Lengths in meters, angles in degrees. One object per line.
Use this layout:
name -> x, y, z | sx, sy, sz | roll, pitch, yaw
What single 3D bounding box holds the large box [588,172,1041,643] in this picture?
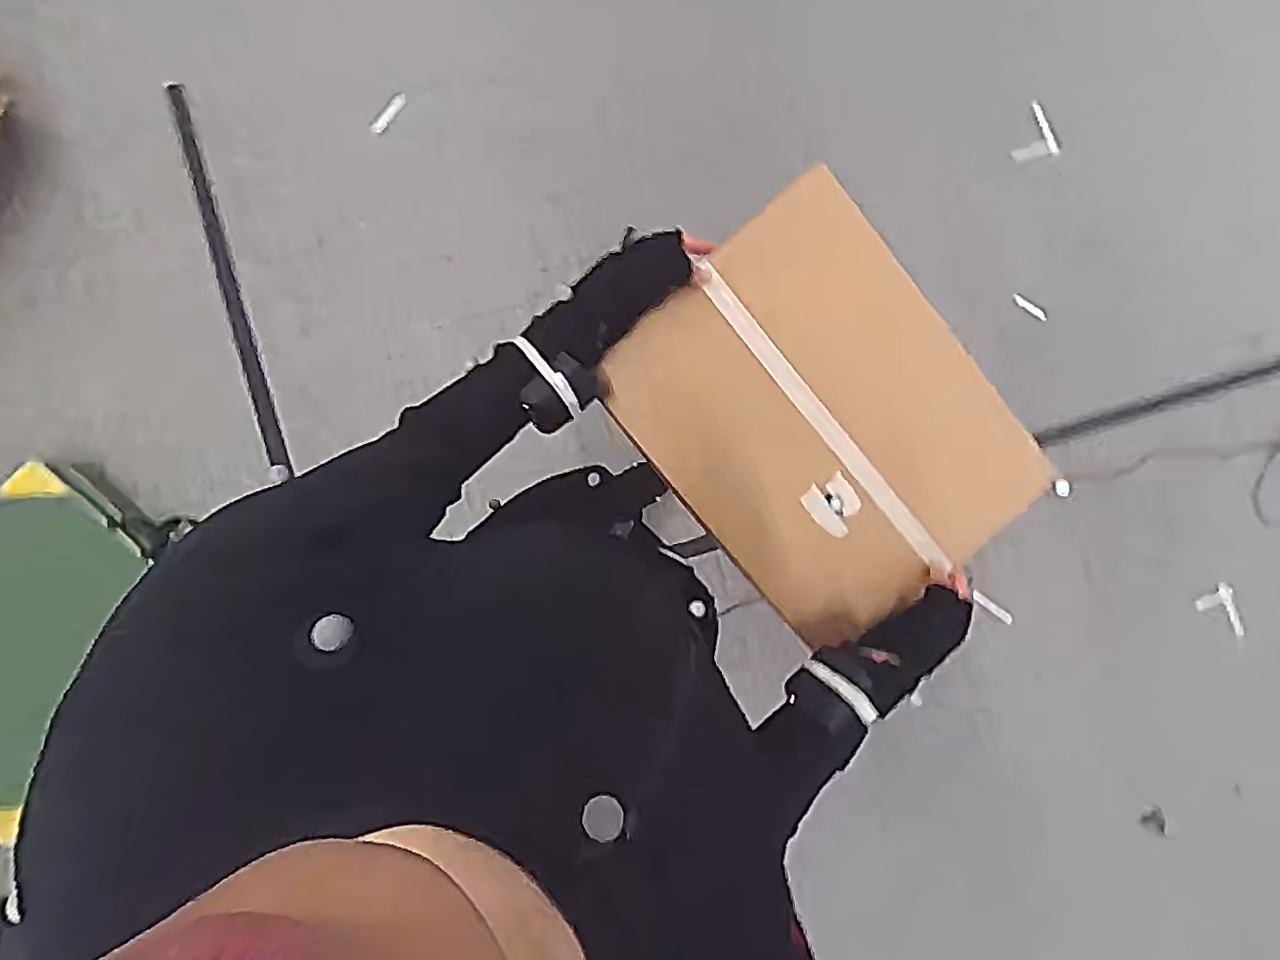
large box -> 0.179, -0.081, 0.709 | 0.320, 0.320, 0.408 | -40, 96, 3
